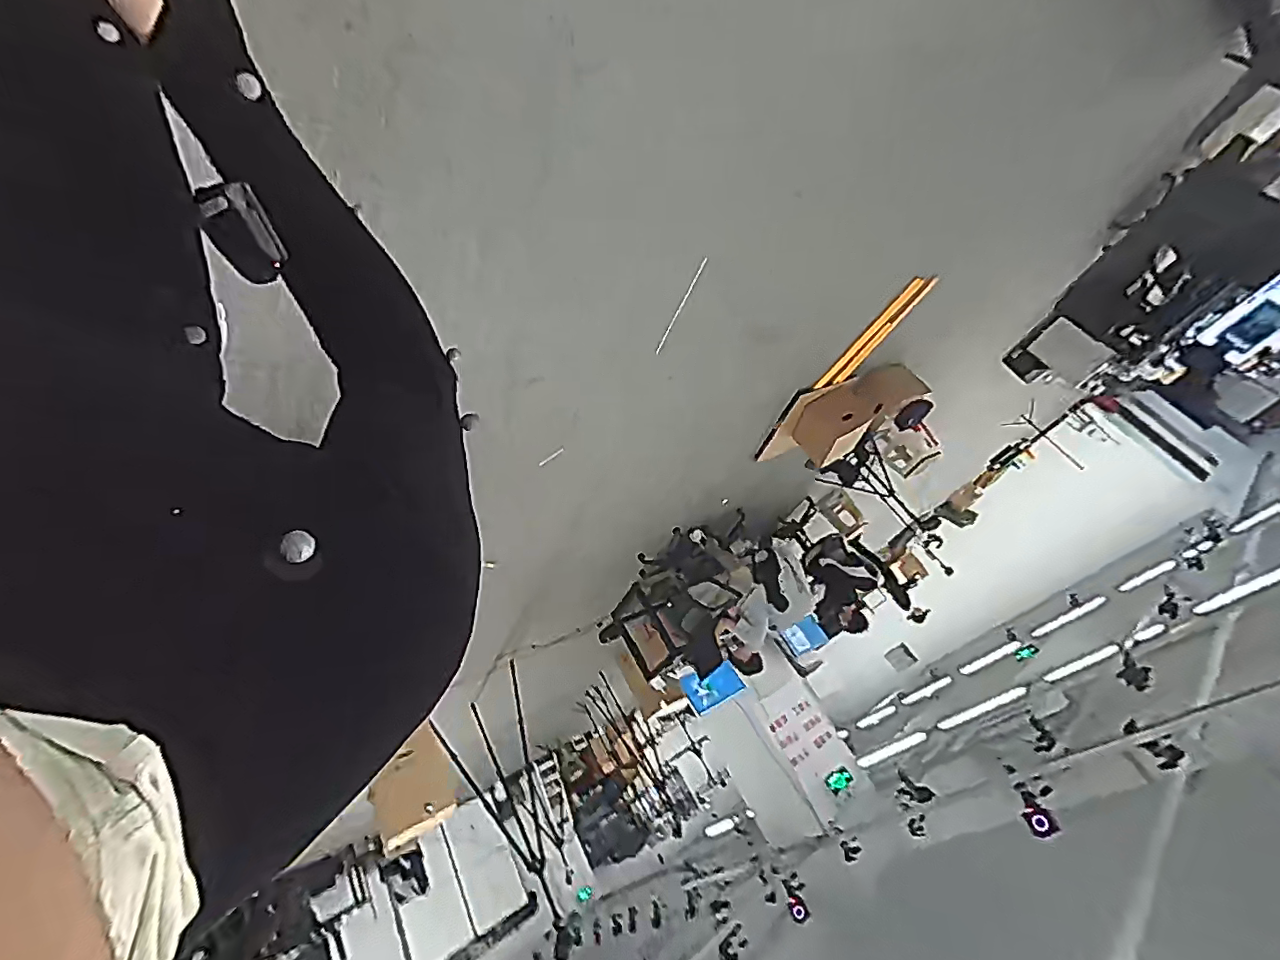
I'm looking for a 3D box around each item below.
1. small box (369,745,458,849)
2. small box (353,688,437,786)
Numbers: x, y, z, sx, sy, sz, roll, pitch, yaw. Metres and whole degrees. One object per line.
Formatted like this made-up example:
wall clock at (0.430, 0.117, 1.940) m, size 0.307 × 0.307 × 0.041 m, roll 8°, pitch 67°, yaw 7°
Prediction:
small box at (-0.599, 0.827, 1.419) m, size 0.168 × 0.176 × 0.179 m, roll -13°, pitch 149°, yaw -37°
small box at (-0.677, 0.698, 1.485) m, size 0.168 × 0.176 × 0.179 m, roll -12°, pitch 149°, yaw -37°
